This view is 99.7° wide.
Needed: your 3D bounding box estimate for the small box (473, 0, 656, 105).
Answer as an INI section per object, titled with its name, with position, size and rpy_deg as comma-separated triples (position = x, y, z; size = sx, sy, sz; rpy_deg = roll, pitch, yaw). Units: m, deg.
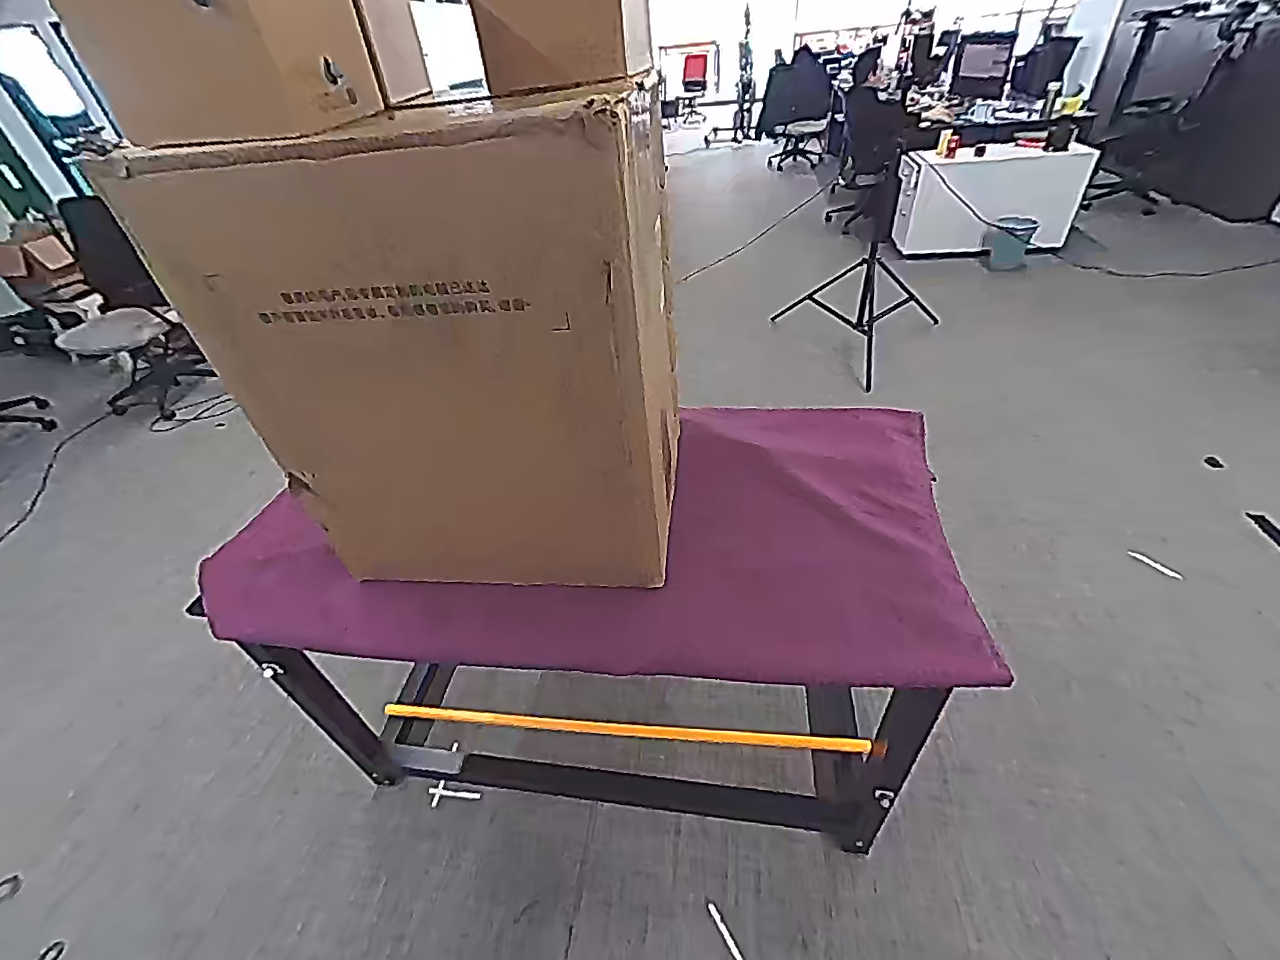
[small box]
position = -0.082, -0.561, 0.637
size = 0.179, 0.176, 0.168
rpy_deg = 3, 40, 13
